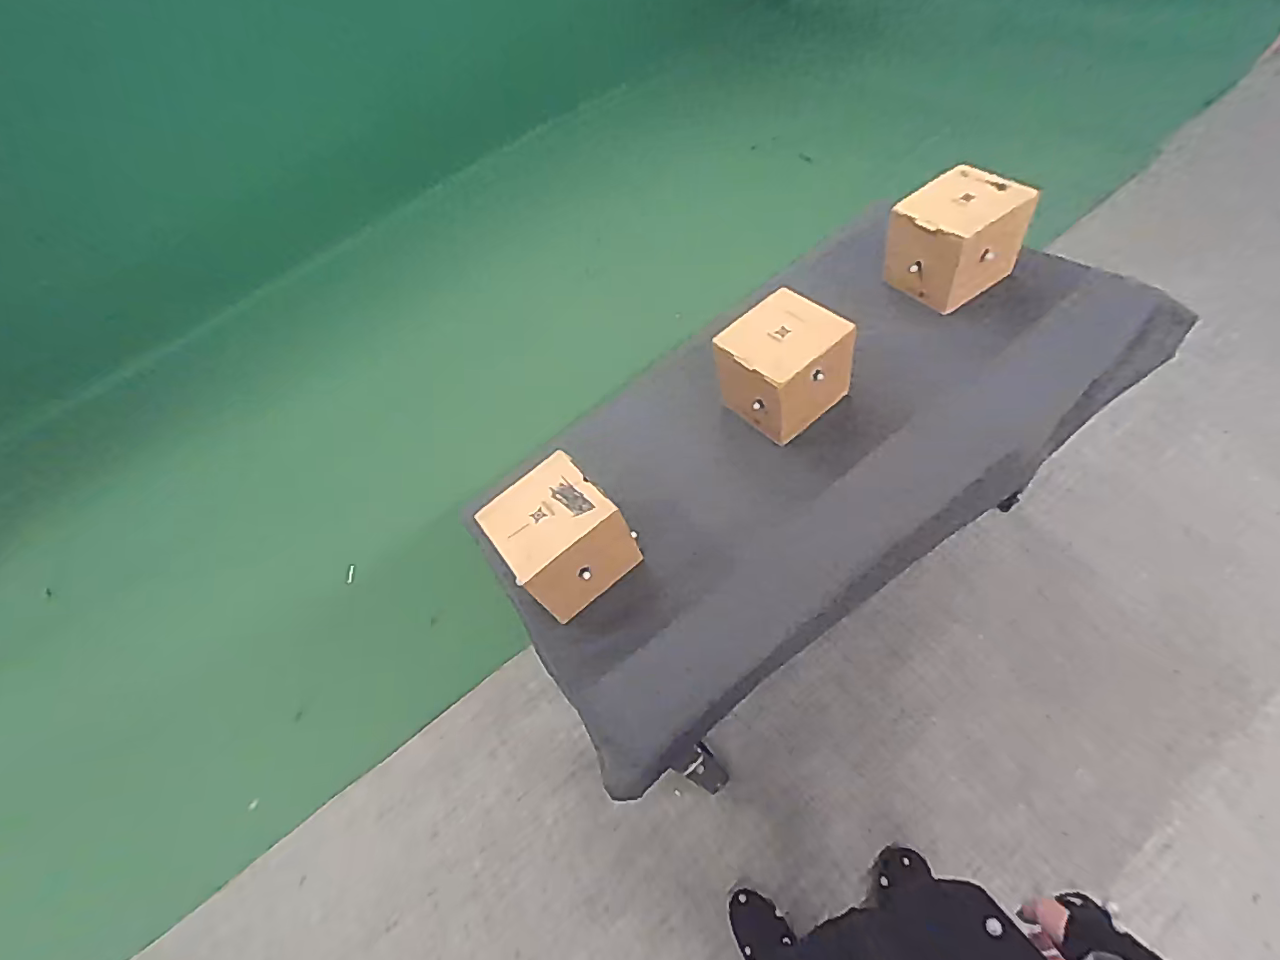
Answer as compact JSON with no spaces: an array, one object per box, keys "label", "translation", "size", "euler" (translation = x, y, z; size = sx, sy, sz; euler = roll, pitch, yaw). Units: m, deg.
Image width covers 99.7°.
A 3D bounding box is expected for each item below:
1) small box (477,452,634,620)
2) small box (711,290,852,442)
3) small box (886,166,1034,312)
[{"label":"small box","translation":[-0.126,0.094,0.885],"size":[0.179,0.176,0.168],"euler":[-39,55,-10]},{"label":"small box","translation":[0.254,-0.200,0.975],"size":[0.179,0.176,0.168],"euler":[-37,56,-12]},{"label":"small box","translation":[0.600,-0.459,1.043],"size":[0.179,0.176,0.168],"euler":[-33,55,-6]}]
